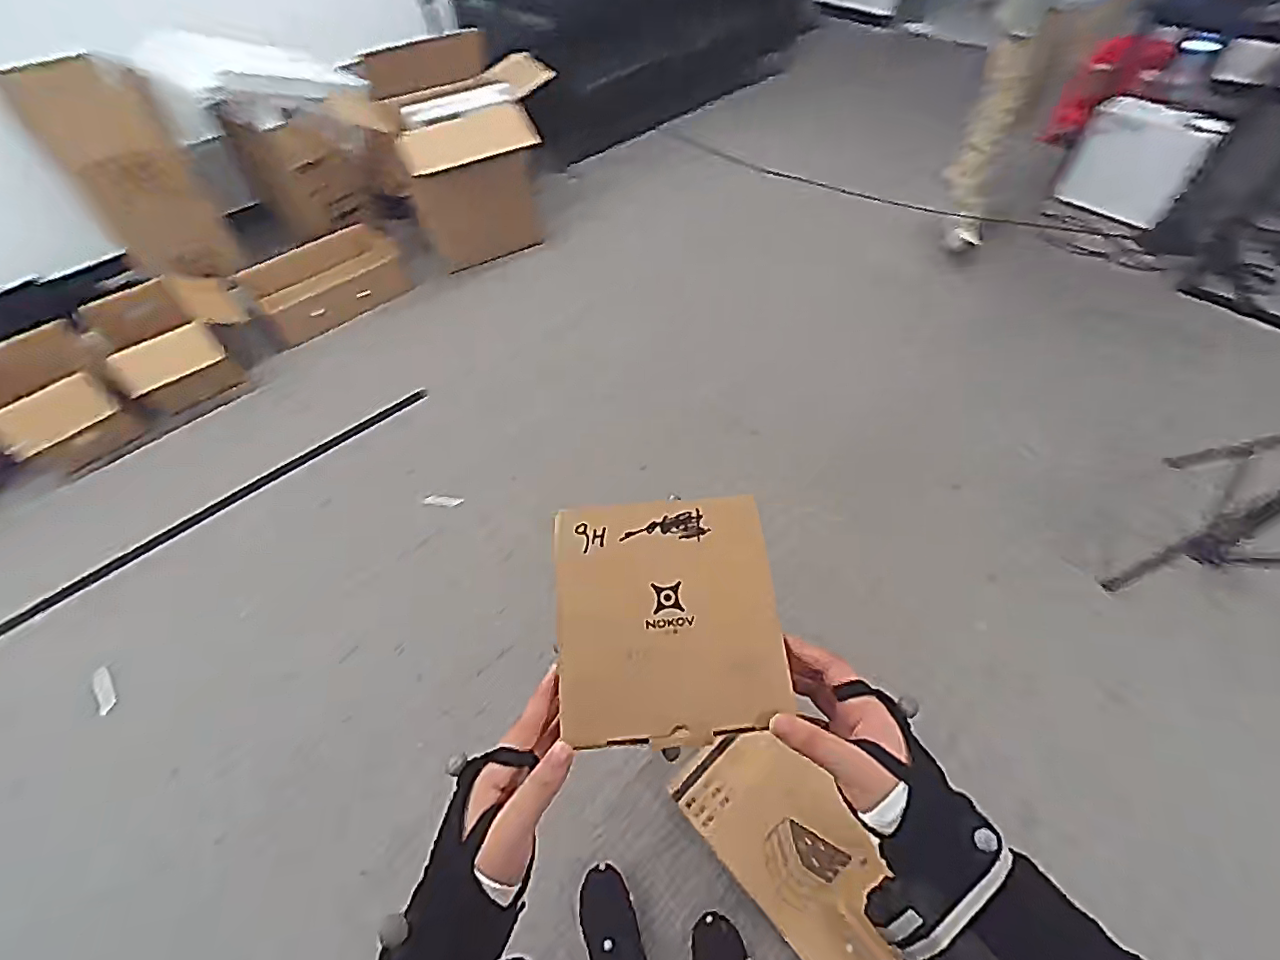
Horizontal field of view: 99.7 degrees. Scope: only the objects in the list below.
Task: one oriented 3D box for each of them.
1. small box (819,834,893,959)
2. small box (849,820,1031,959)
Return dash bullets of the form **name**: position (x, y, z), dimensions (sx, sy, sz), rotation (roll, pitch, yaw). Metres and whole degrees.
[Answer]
- **small box**: position (0.459, 0.792, 0.999), dimensions (0.179, 0.176, 0.168), rotation (-34, 58, -20)
- **small box**: position (0.467, 0.689, 0.870), dimensions (0.179, 0.176, 0.168), rotation (-37, 60, -22)
